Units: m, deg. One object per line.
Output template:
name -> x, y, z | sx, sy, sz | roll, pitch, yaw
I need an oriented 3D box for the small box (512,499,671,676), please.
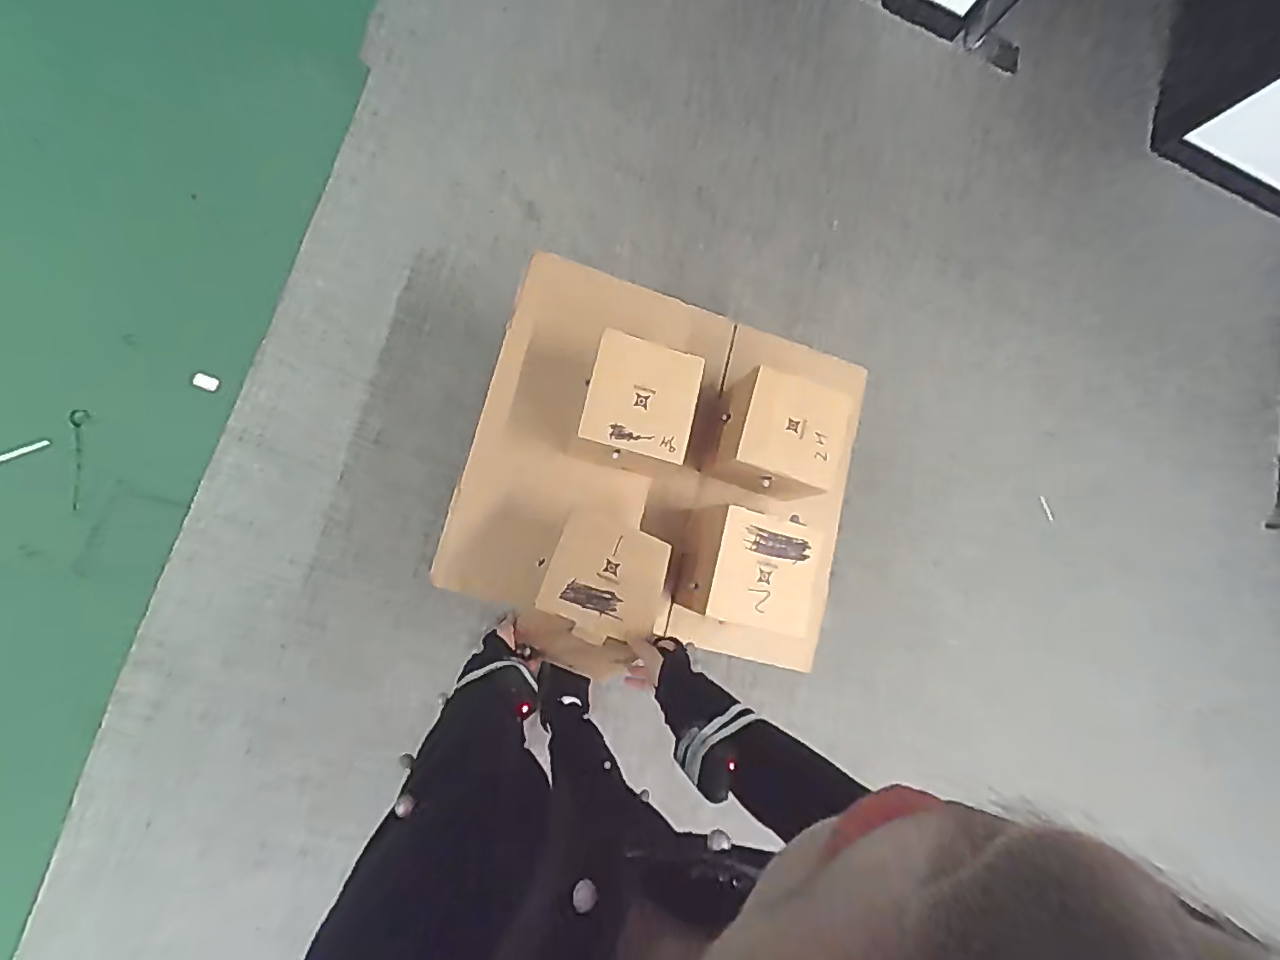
small box -> -0.076, 0.167, 0.801 | 0.168, 0.176, 0.179 | 26, 49, -10

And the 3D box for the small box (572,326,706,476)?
small box -> -0.010, -0.117, 0.877 | 0.168, 0.176, 0.179 | 15, 80, -9
